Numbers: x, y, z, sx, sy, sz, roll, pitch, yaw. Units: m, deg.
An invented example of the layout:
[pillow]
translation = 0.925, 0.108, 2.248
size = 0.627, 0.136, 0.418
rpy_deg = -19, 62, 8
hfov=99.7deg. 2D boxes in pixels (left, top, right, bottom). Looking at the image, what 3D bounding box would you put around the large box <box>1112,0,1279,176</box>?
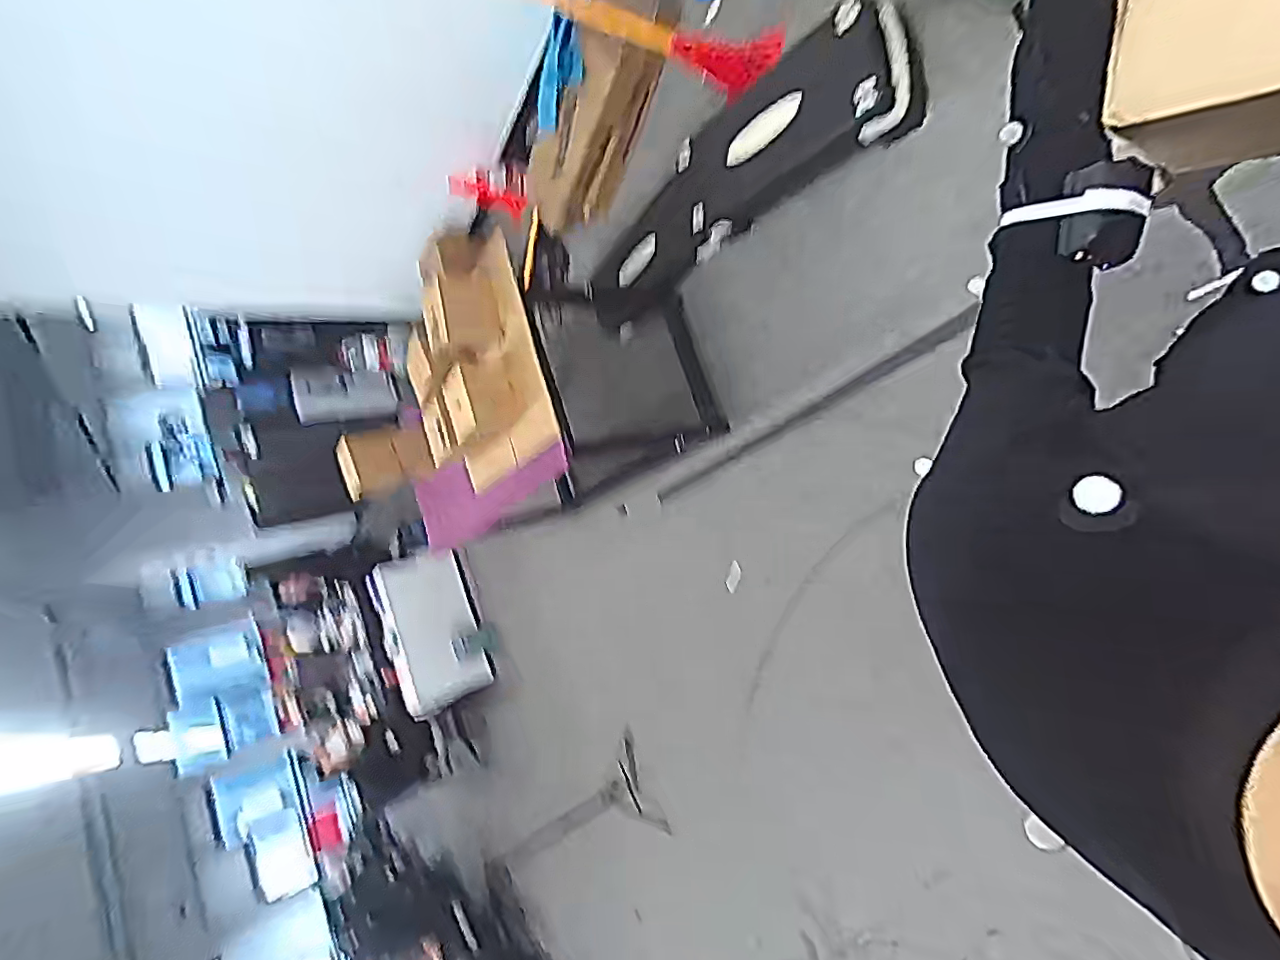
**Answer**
[large box]
translation = 0.579, -0.405, 0.307
size = 0.408, 0.320, 0.320
rpy_deg = 16, 116, 47
